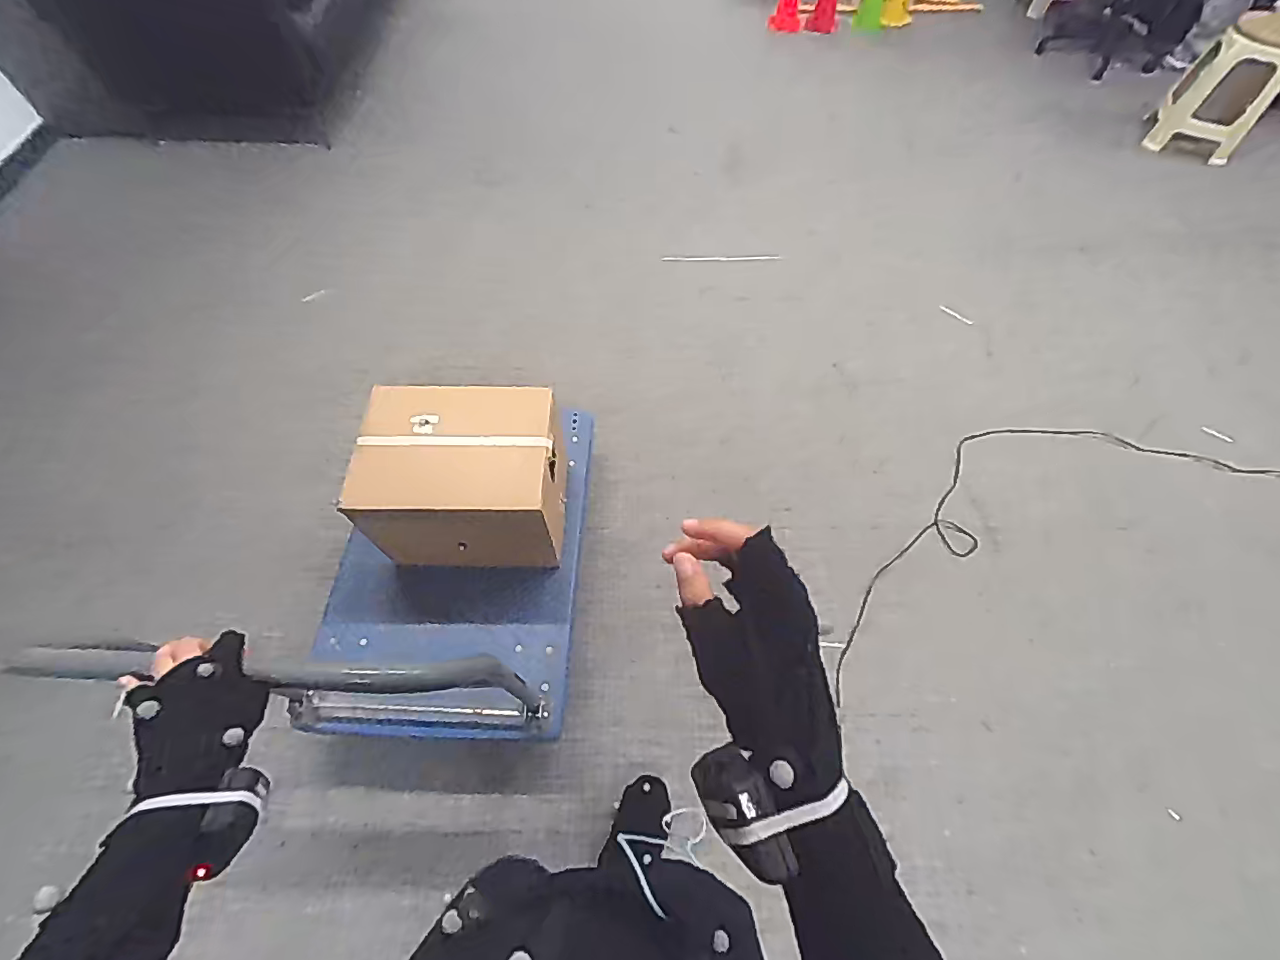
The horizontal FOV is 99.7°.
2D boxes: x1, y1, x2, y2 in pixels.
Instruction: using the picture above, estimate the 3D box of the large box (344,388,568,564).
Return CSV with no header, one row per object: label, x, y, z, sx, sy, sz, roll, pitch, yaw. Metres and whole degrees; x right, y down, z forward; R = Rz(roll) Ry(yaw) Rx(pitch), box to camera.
large box,-0.391,0.001,1.276,0.408,0.320,0.320,0,59,0
